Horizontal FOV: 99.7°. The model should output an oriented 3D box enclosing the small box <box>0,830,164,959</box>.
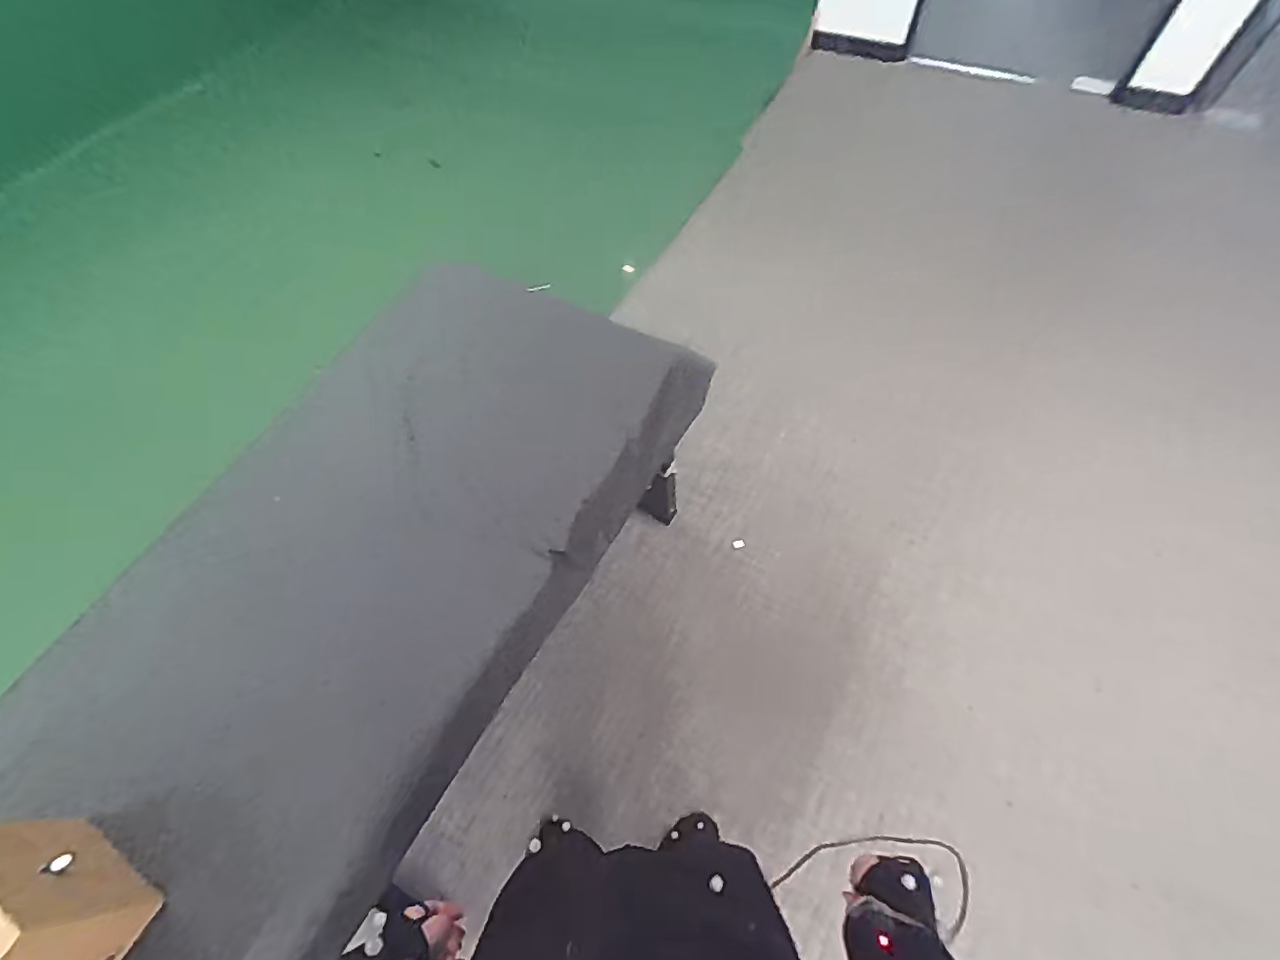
[{"bbox_3d":[-0.690,0.505,0.579,0.179,0.176,0.168,24,66,16],"label":"small box"}]
